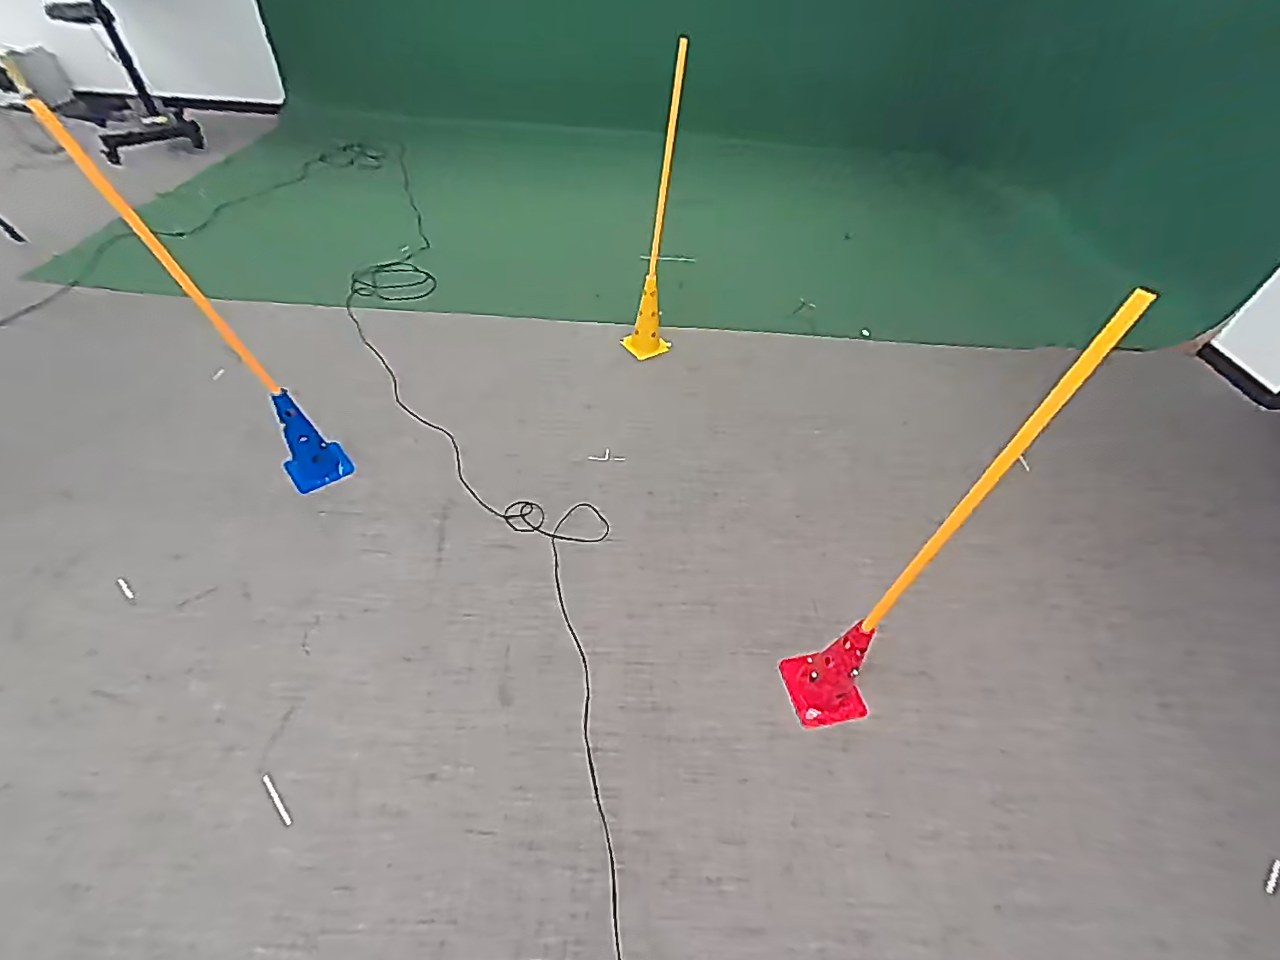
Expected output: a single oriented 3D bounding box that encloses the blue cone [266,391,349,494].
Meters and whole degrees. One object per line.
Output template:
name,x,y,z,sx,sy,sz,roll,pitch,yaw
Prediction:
blue cone,-1.183,-0.145,1.866,0.193,0.380,0.192,-34,58,-28
